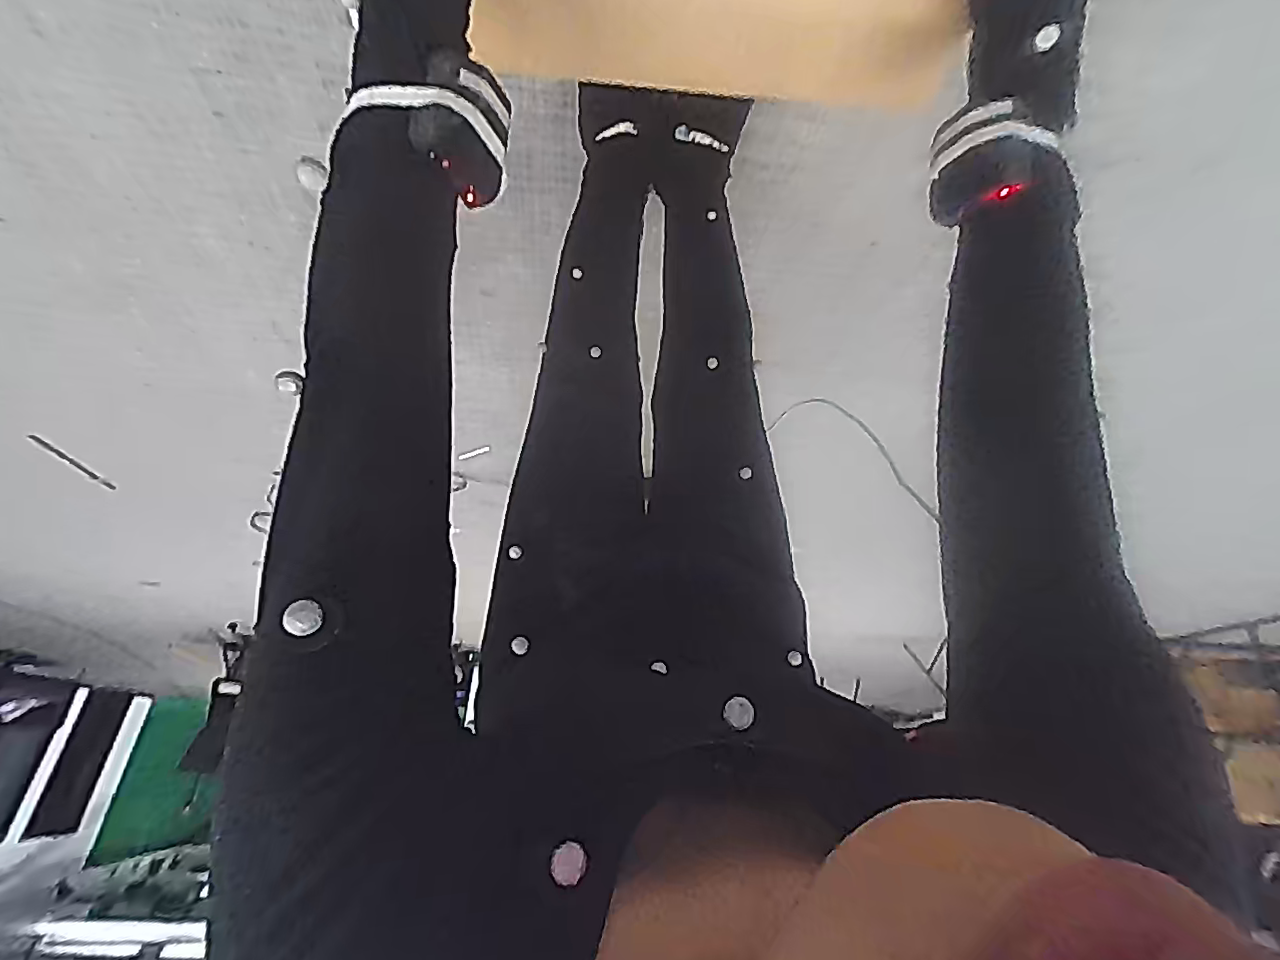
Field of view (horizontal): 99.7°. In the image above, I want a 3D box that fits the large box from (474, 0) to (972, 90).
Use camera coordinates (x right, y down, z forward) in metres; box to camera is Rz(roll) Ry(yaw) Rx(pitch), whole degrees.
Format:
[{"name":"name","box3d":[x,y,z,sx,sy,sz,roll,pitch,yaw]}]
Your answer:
[{"name":"large box","box3d":[0.071,-0.559,0.418,0.408,0.320,0.320,2,151,-4]}]
